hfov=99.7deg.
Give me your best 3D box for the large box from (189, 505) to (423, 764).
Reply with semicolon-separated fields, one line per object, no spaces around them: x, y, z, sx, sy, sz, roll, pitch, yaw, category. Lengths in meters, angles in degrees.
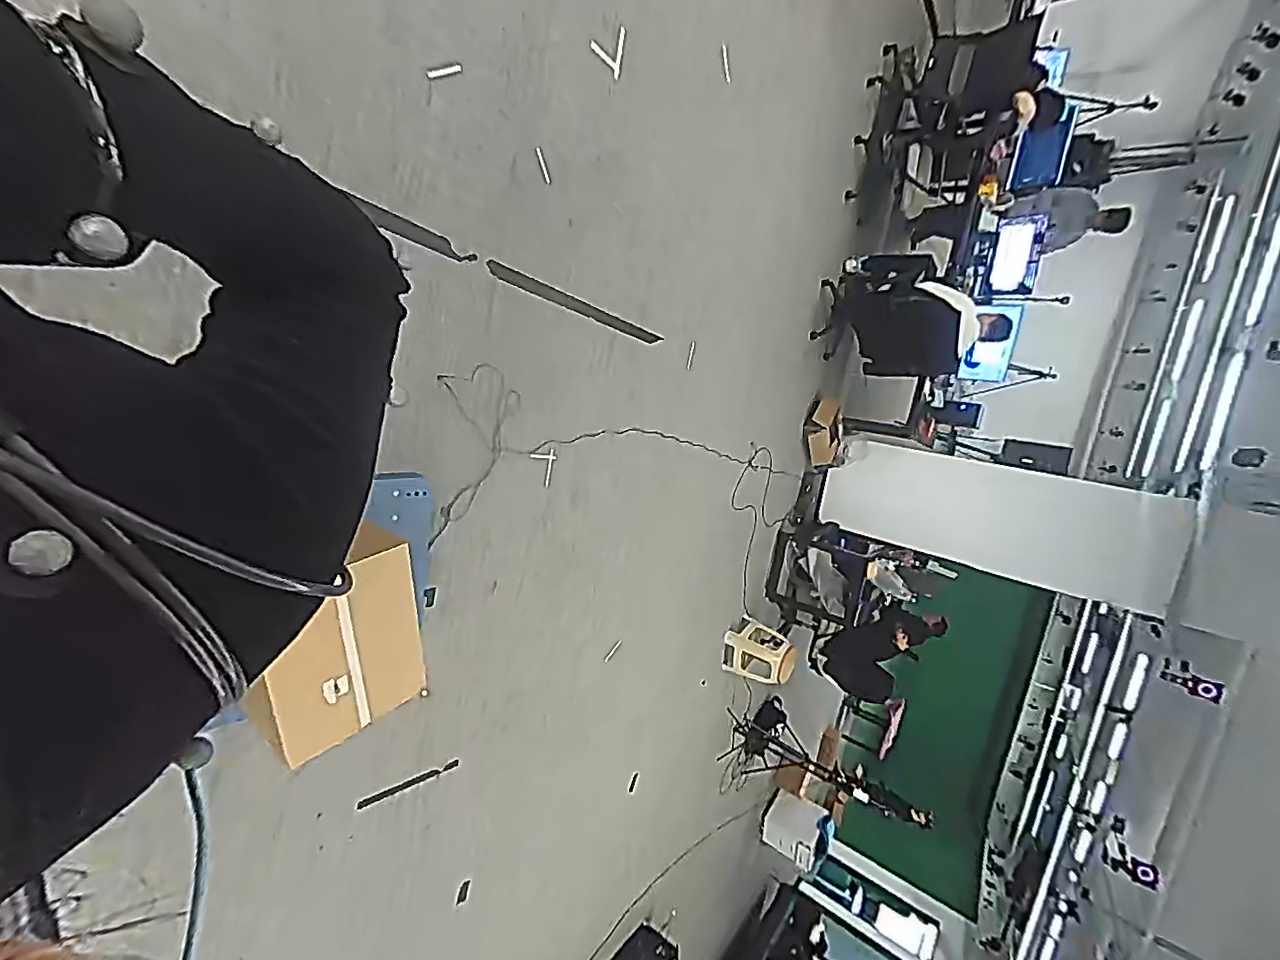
-0.734;0.318;1.218;0.320;0.320;0.408;-22;122;-48;large box
